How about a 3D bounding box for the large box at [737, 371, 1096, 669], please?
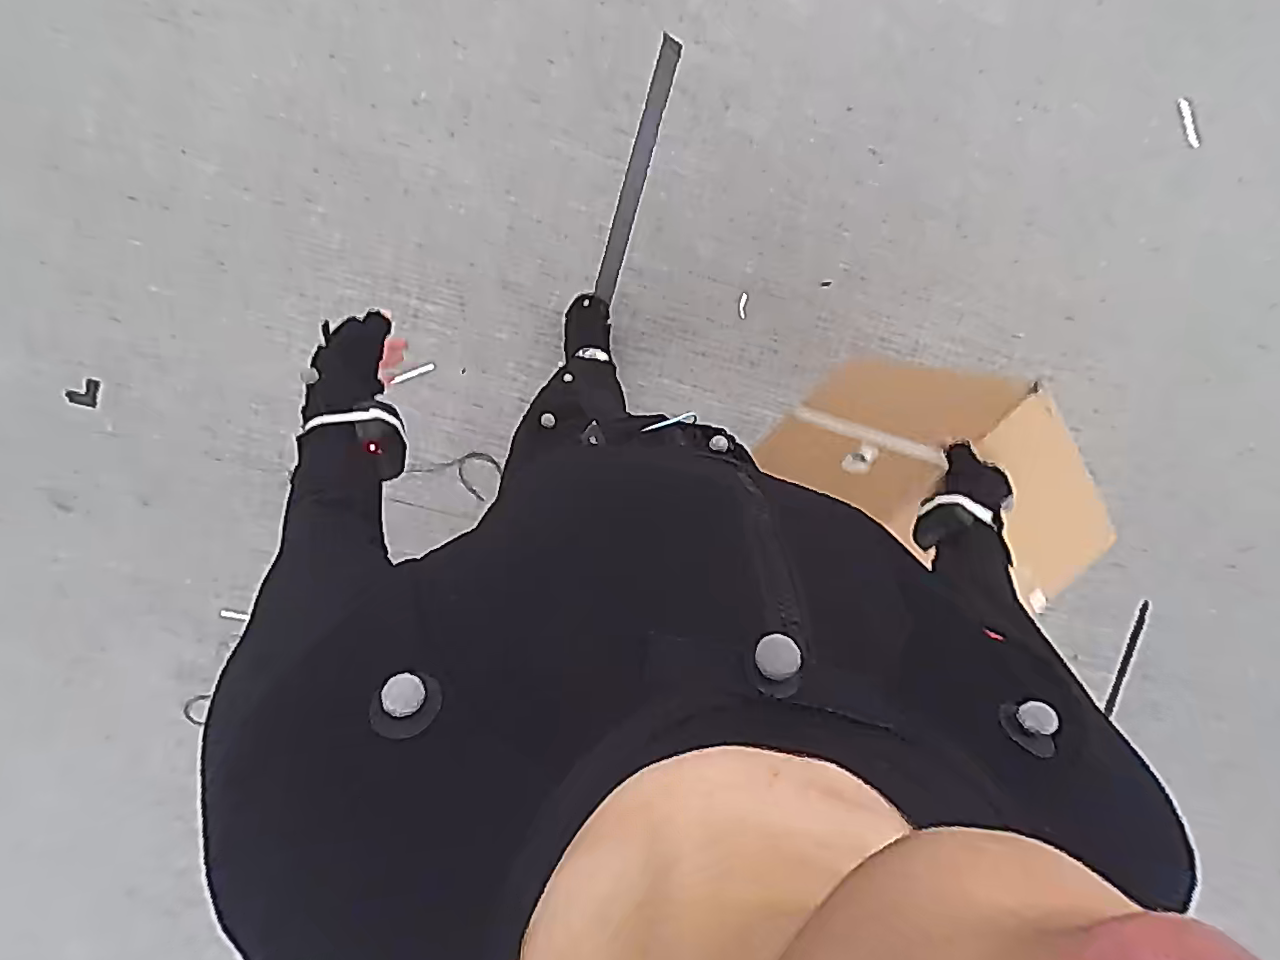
[{"bbox_3d":[0.445,0.037,0.945,0.320,0.408,0.320,-43,112,-1],"label":"large box"}]
